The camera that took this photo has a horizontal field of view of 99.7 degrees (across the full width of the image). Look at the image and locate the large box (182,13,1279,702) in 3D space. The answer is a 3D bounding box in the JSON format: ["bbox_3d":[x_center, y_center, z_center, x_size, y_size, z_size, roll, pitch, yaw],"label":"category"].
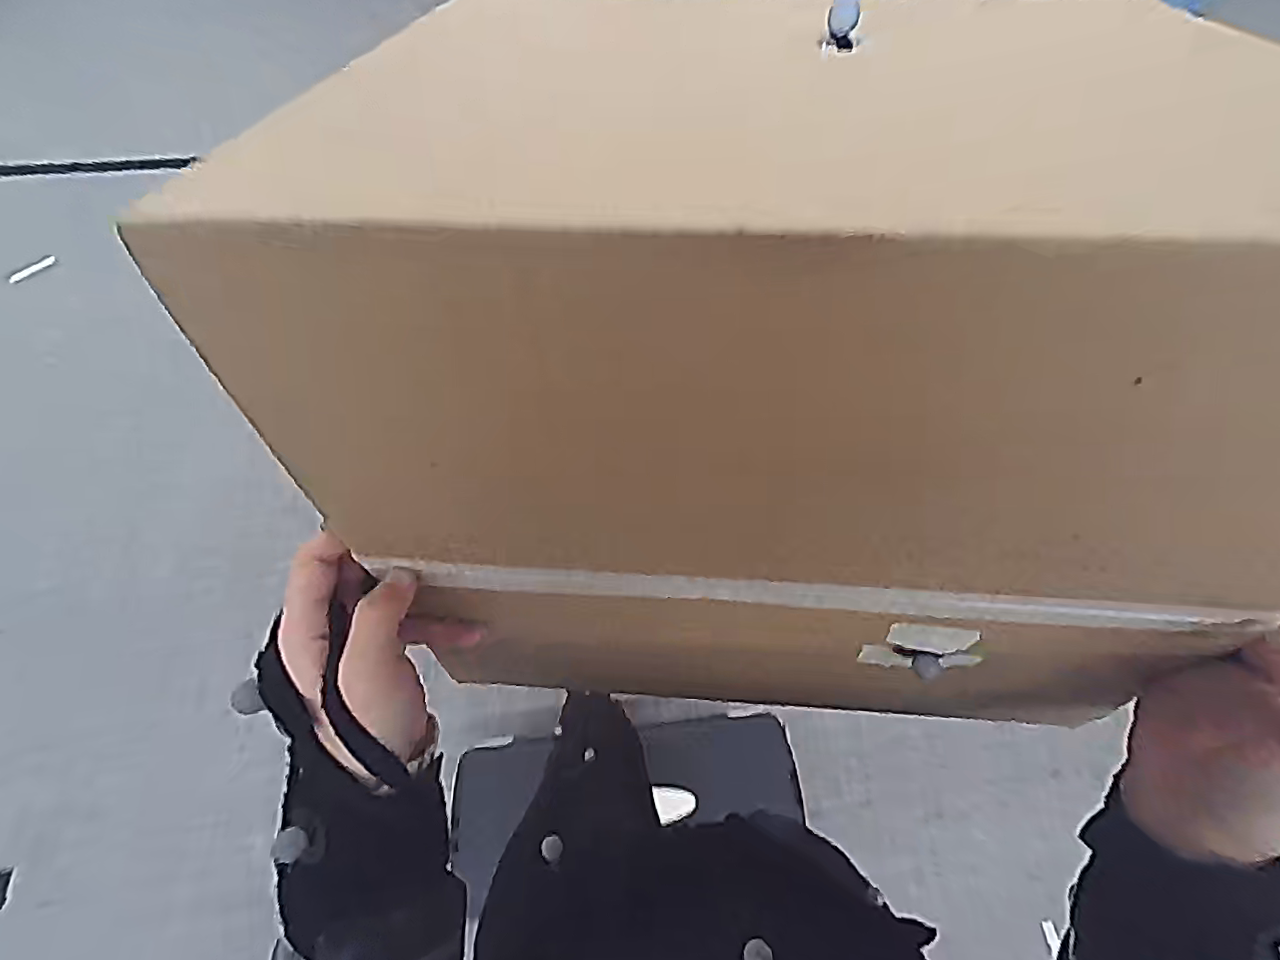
[{"bbox_3d":[0.075,-0.071,0.350,0.408,0.320,0.320,2,51,3],"label":"large box"}]
